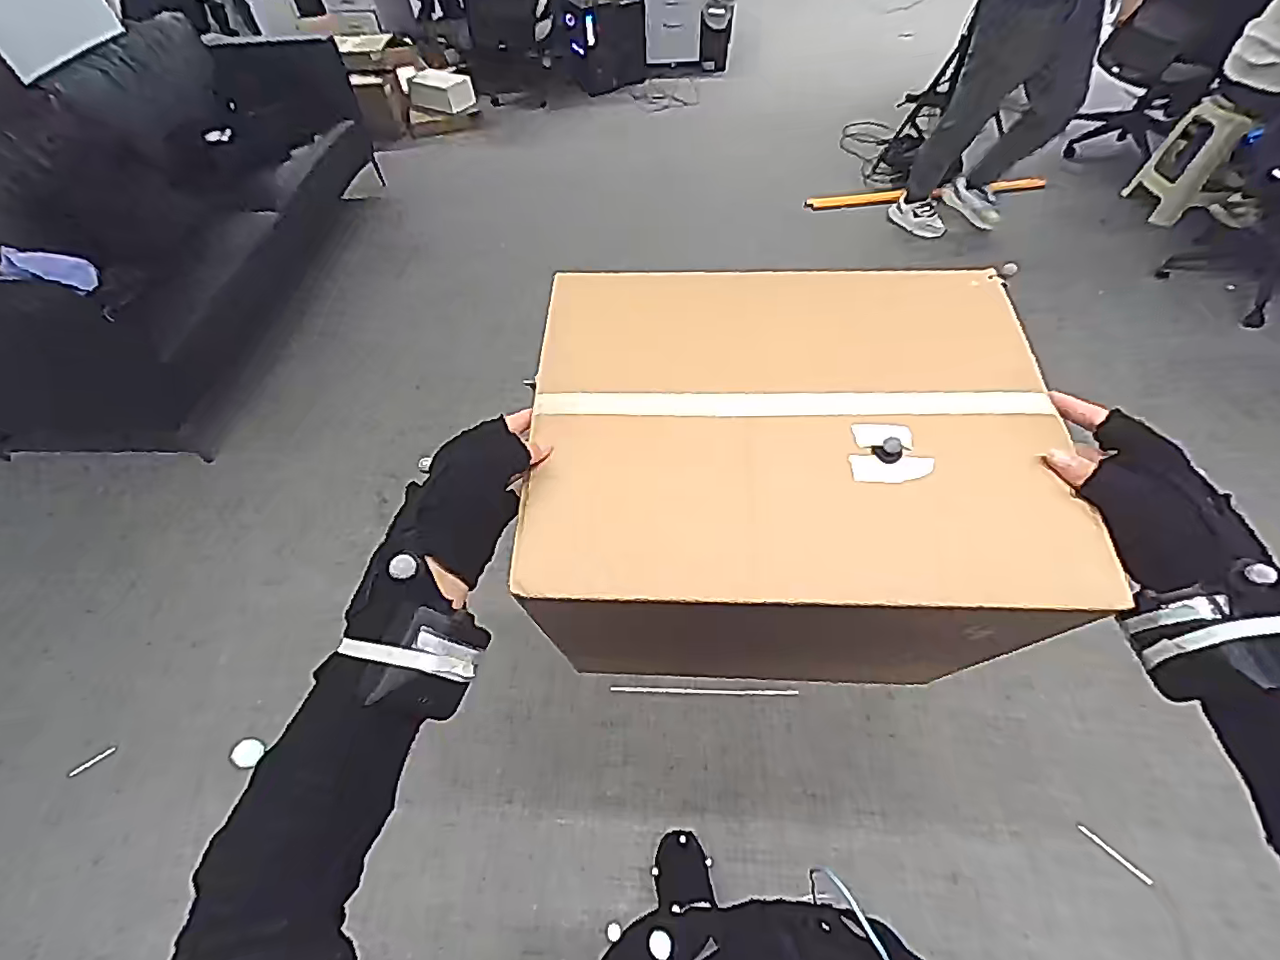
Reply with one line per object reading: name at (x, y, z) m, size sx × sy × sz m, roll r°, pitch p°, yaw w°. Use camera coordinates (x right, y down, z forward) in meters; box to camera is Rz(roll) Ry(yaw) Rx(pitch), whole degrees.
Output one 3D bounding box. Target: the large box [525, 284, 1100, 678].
large box at (0.121, 0.023, 0.574) m, size 0.408 × 0.320 × 0.320 m, roll 0°, pitch 62°, yaw 3°
